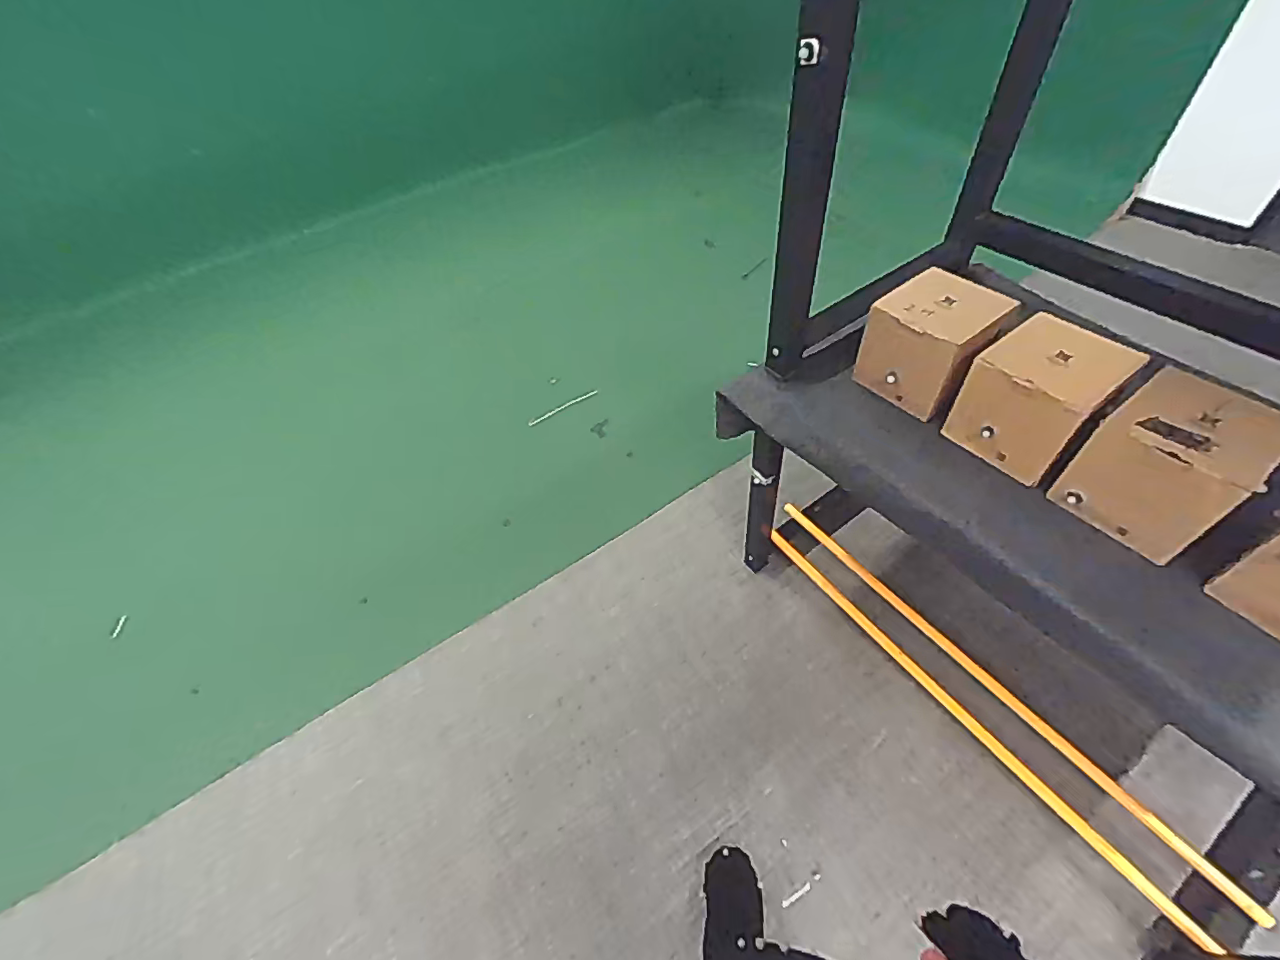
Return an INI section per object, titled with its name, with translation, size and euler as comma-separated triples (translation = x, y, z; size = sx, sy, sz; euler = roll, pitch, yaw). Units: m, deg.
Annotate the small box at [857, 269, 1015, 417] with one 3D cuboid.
[small box]
translation = 0.524, -0.249, 0.986
size = 0.179, 0.176, 0.168
euler = -33, 54, -18
